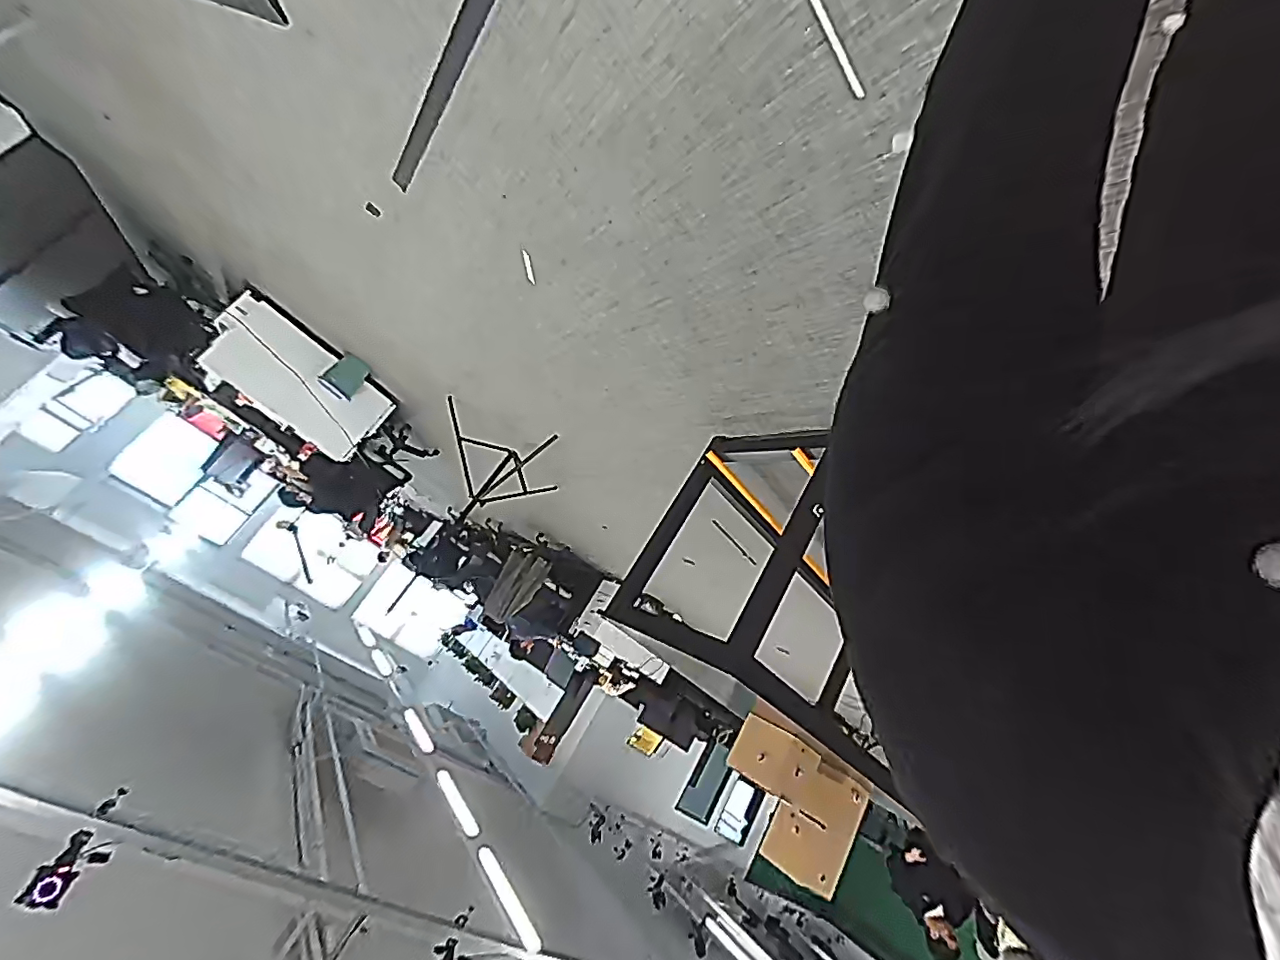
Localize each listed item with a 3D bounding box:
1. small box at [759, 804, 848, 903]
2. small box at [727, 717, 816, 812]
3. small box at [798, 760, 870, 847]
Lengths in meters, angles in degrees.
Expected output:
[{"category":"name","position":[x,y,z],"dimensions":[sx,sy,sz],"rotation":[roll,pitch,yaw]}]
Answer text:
[{"category":"small box","position":[0.509,1.143,1.664],"dimensions":[0.179,0.176,0.168],"rotation":[43,159,-25]},{"category":"small box","position":[0.395,0.830,1.593],"dimensions":[0.168,0.176,0.179],"rotation":[45,158,-28]},{"category":"small box","position":[0.594,1.013,1.720],"dimensions":[0.168,0.176,0.179],"rotation":[42,158,-27]}]
